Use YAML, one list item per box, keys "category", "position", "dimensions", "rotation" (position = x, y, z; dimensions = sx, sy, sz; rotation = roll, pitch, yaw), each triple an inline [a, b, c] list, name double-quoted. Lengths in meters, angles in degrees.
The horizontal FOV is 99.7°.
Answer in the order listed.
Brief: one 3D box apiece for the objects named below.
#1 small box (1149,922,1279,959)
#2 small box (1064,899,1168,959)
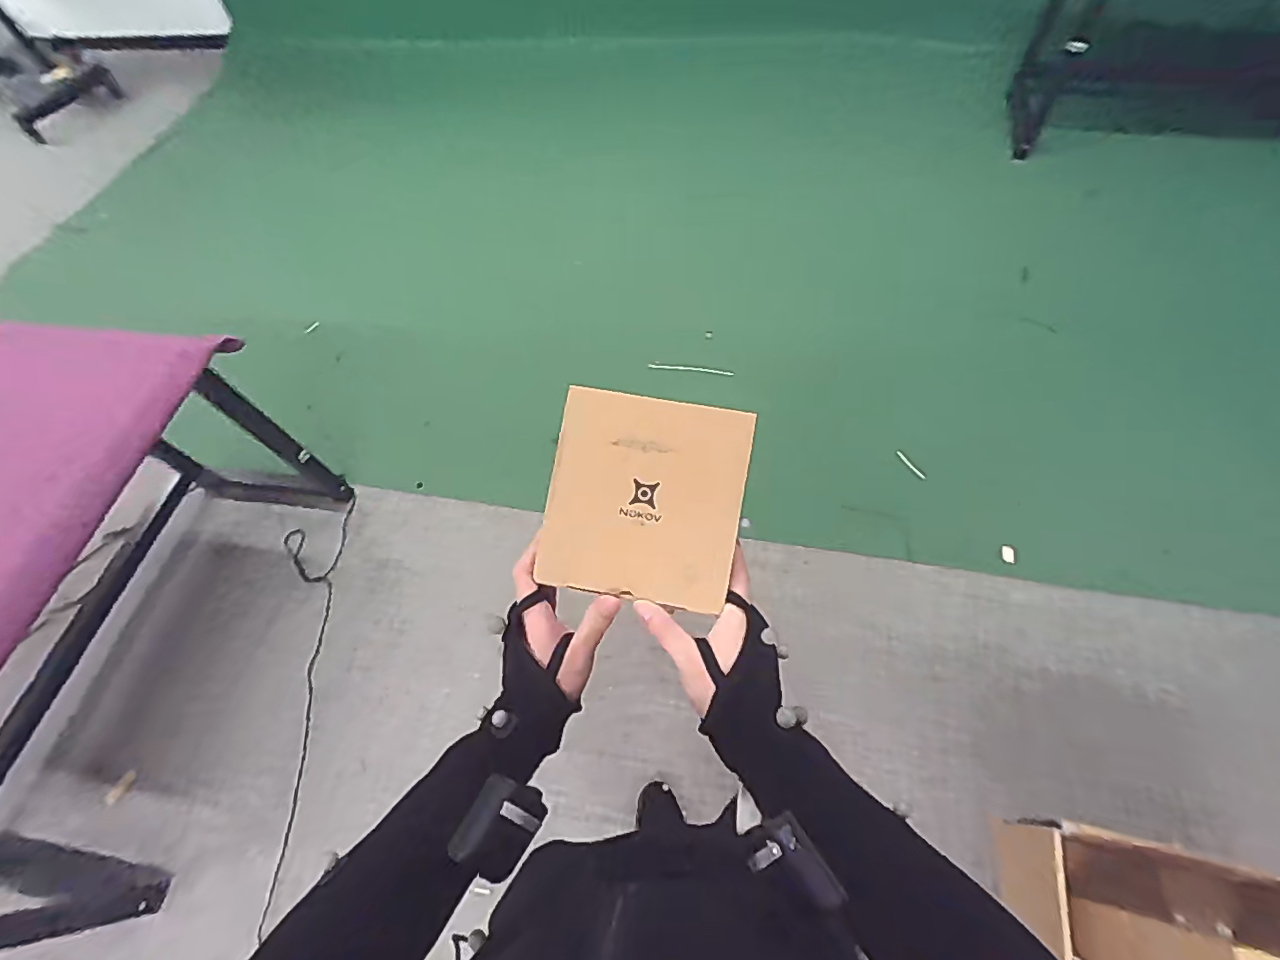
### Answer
- category: "small box"
  position: [0.729, 0.635, 0.610]
  dimensions: [0.179, 0.176, 0.168]
  rotation: [10, 63, 11]
- category: "small box"
  position: [0.742, 0.715, 0.751]
  dimensions: [0.179, 0.176, 0.168]
  rotation: [11, 62, 10]
